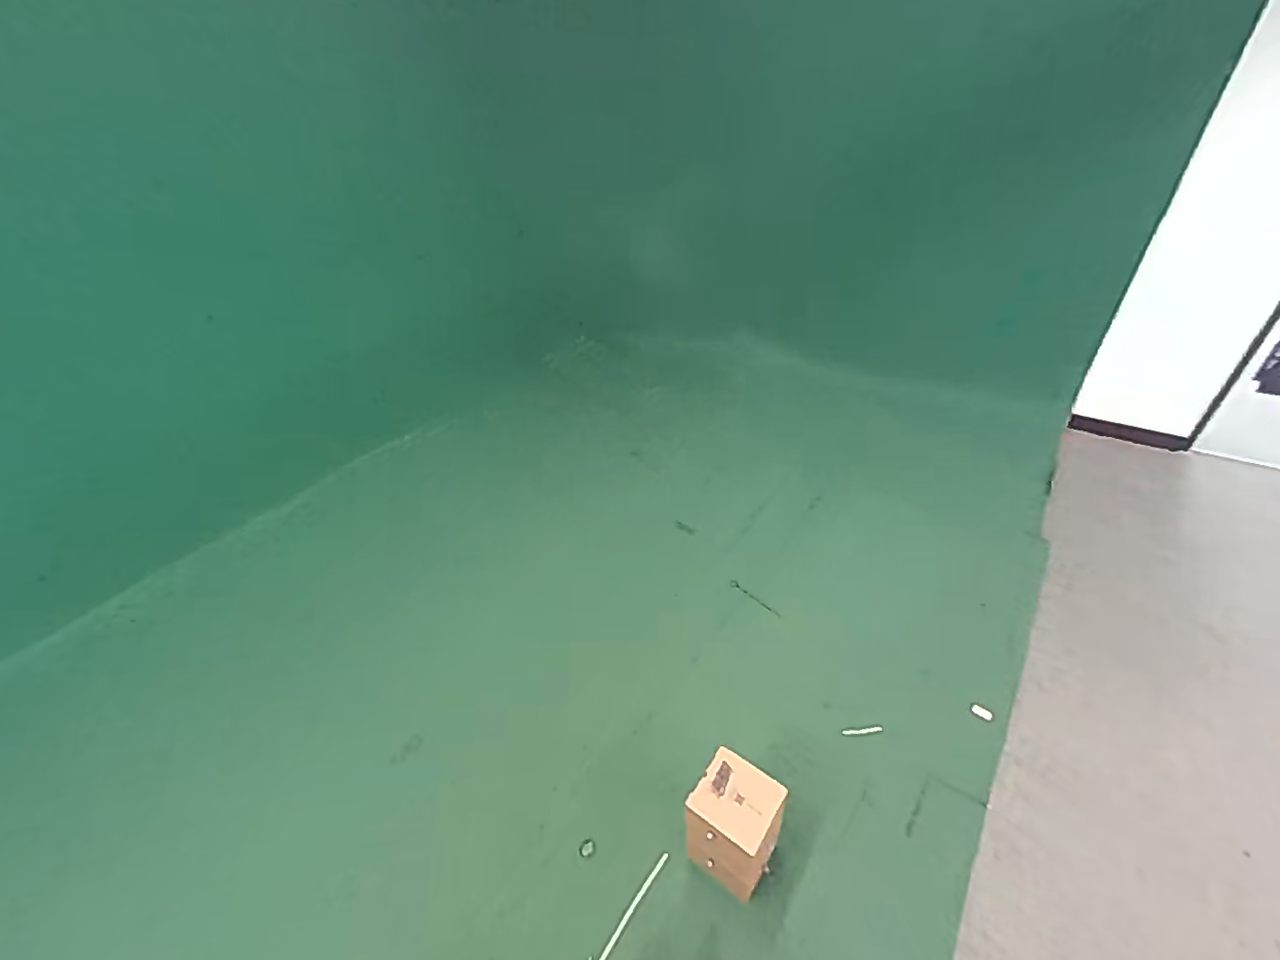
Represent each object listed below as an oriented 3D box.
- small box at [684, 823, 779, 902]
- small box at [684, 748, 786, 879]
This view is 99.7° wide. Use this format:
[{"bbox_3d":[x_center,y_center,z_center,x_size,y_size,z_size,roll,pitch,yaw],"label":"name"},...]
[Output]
[{"bbox_3d":[0.226,0.907,1.357,0.179,0.176,0.168,23,46,31],"label":"small box"},{"bbox_3d":[0.217,0.776,1.257,0.179,0.176,0.168,23,46,30],"label":"small box"}]
